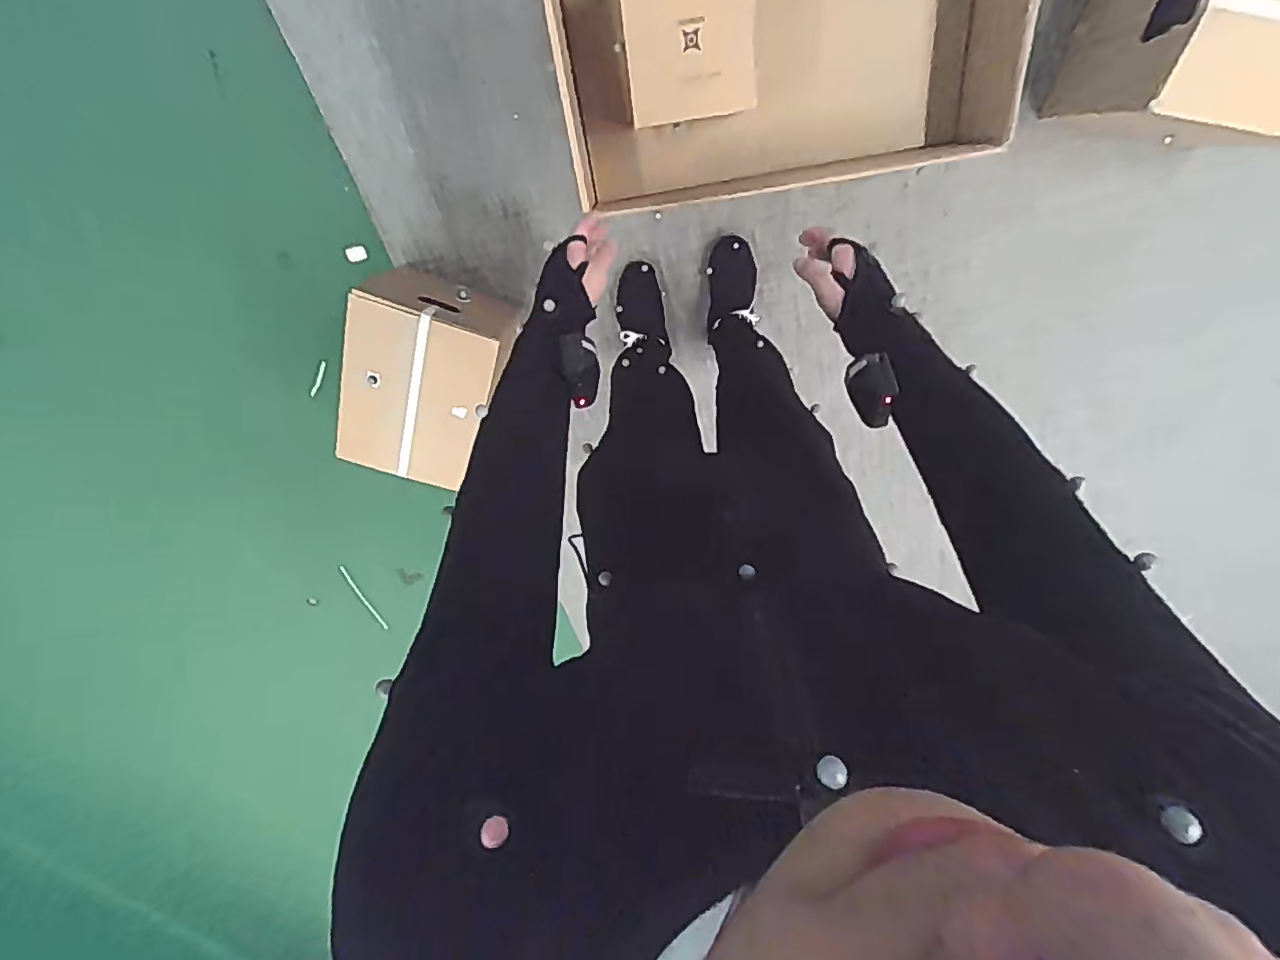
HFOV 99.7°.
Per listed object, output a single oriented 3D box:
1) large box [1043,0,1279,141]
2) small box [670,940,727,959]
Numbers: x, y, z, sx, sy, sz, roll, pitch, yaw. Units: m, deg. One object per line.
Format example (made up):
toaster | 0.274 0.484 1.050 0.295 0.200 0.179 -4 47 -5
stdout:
large box | 1.109 -0.840 1.015 0.408 0.320 0.320 6 121 -4
small box | 0.196 1.581 1.694 0.168 0.176 0.179 -14 123 5
